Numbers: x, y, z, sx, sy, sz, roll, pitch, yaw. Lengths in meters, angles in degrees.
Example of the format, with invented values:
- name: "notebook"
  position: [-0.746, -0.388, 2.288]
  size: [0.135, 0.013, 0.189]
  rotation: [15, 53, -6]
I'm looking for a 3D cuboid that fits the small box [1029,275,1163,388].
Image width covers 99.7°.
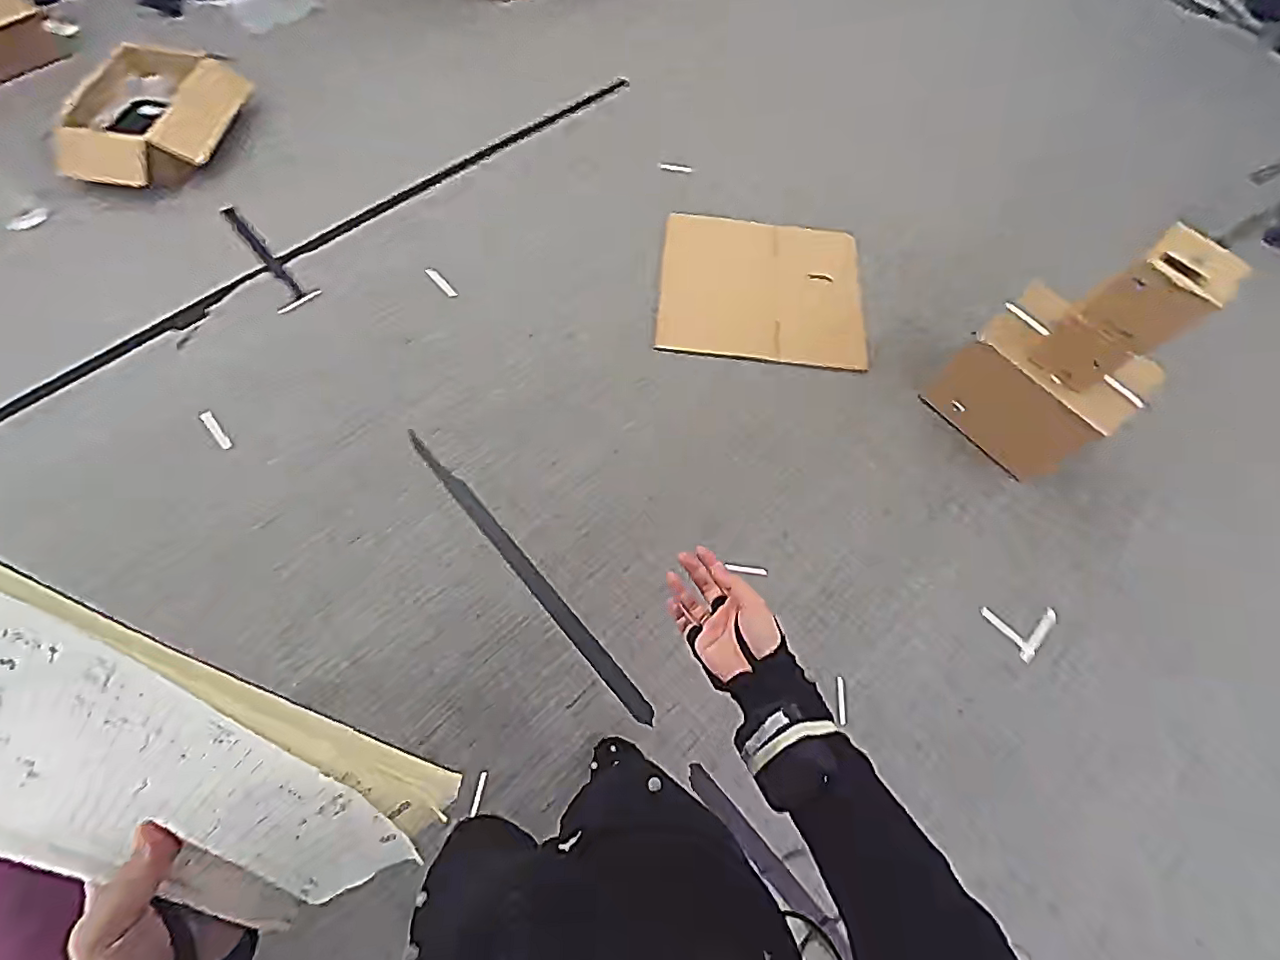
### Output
- name: "small box"
  position: [1.128, -0.364, 1.354]
  size: [0.168, 0.176, 0.179]
  rotation: [42, 70, 13]
